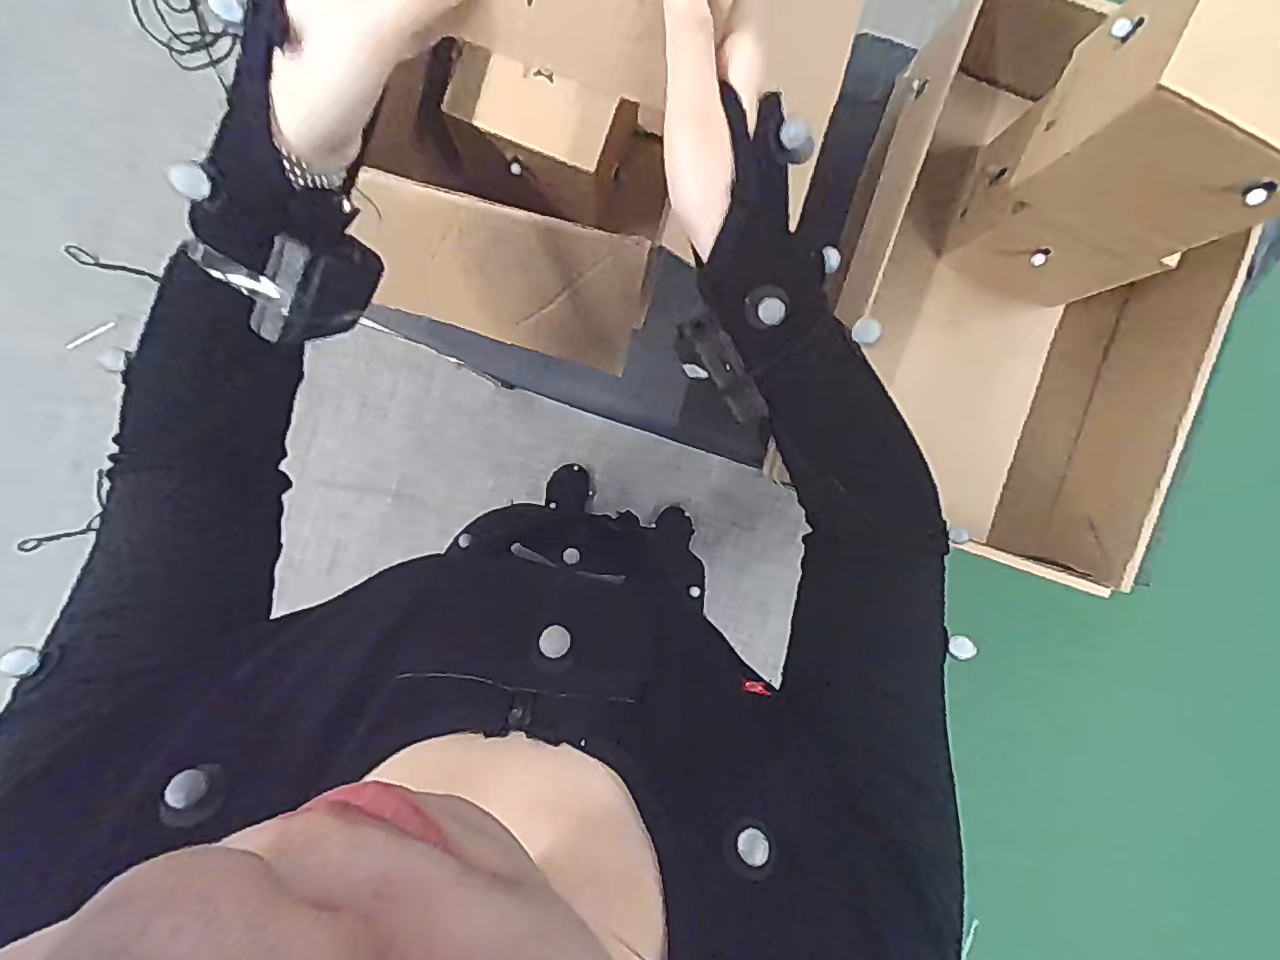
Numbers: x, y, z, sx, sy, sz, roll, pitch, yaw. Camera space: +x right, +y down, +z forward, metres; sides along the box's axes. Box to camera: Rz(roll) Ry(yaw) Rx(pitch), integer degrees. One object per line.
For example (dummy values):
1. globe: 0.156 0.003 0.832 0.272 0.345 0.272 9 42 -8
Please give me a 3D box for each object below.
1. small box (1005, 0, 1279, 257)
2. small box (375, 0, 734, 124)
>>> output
1. small box: 0.492 -0.336 0.498 0.179 0.176 0.168 26 92 -4
2. small box: -0.017 -0.314 0.251 0.168 0.179 0.176 16 50 -8
